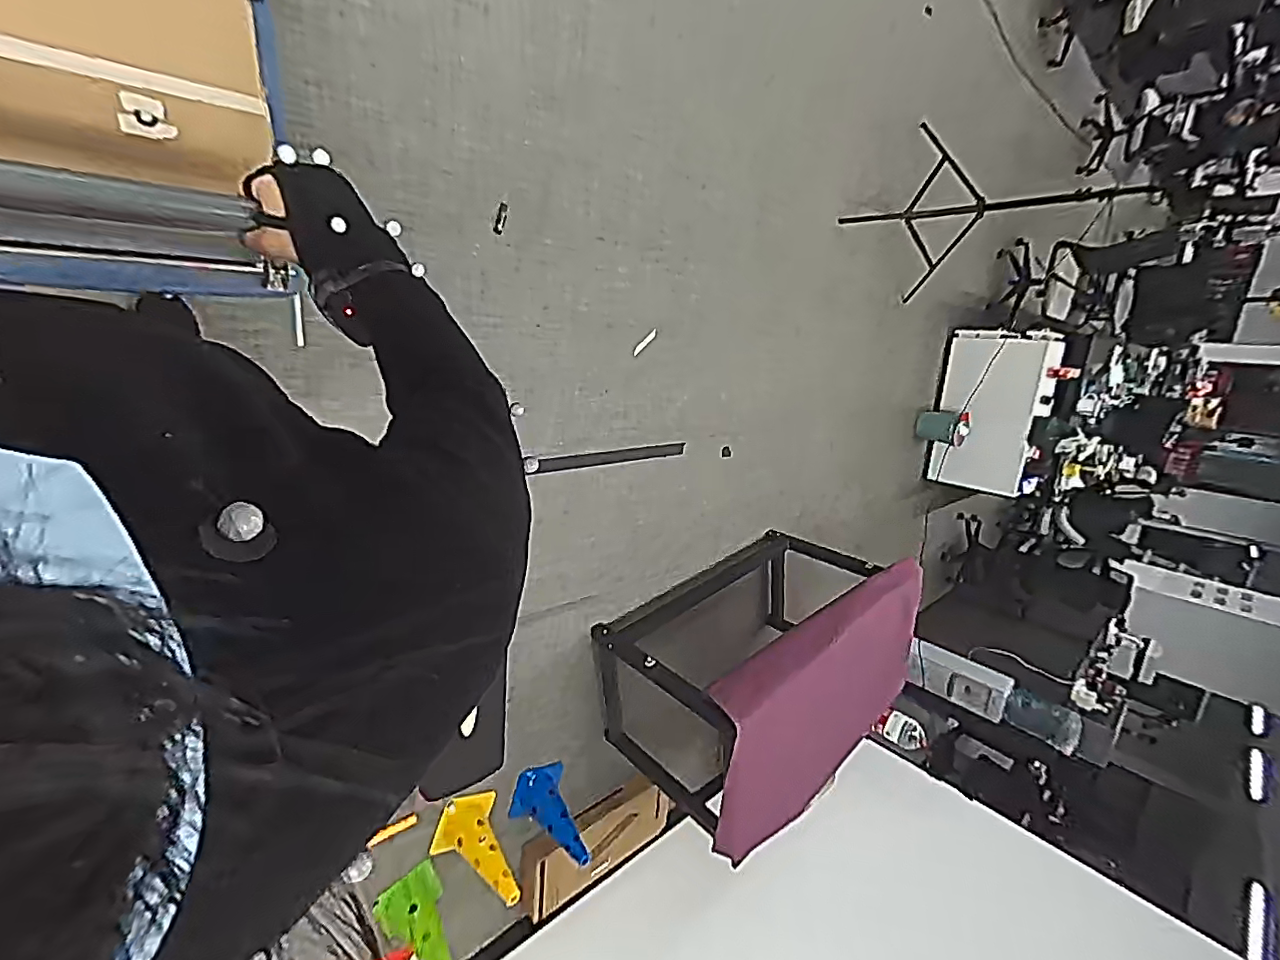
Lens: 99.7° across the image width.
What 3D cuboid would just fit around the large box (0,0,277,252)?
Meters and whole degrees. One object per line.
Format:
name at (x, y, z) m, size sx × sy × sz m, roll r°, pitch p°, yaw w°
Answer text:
large box at (-0.790, -0.515, 0.751) m, size 0.408 × 0.320 × 0.320 m, roll -12°, pitch 110°, yaw -41°
